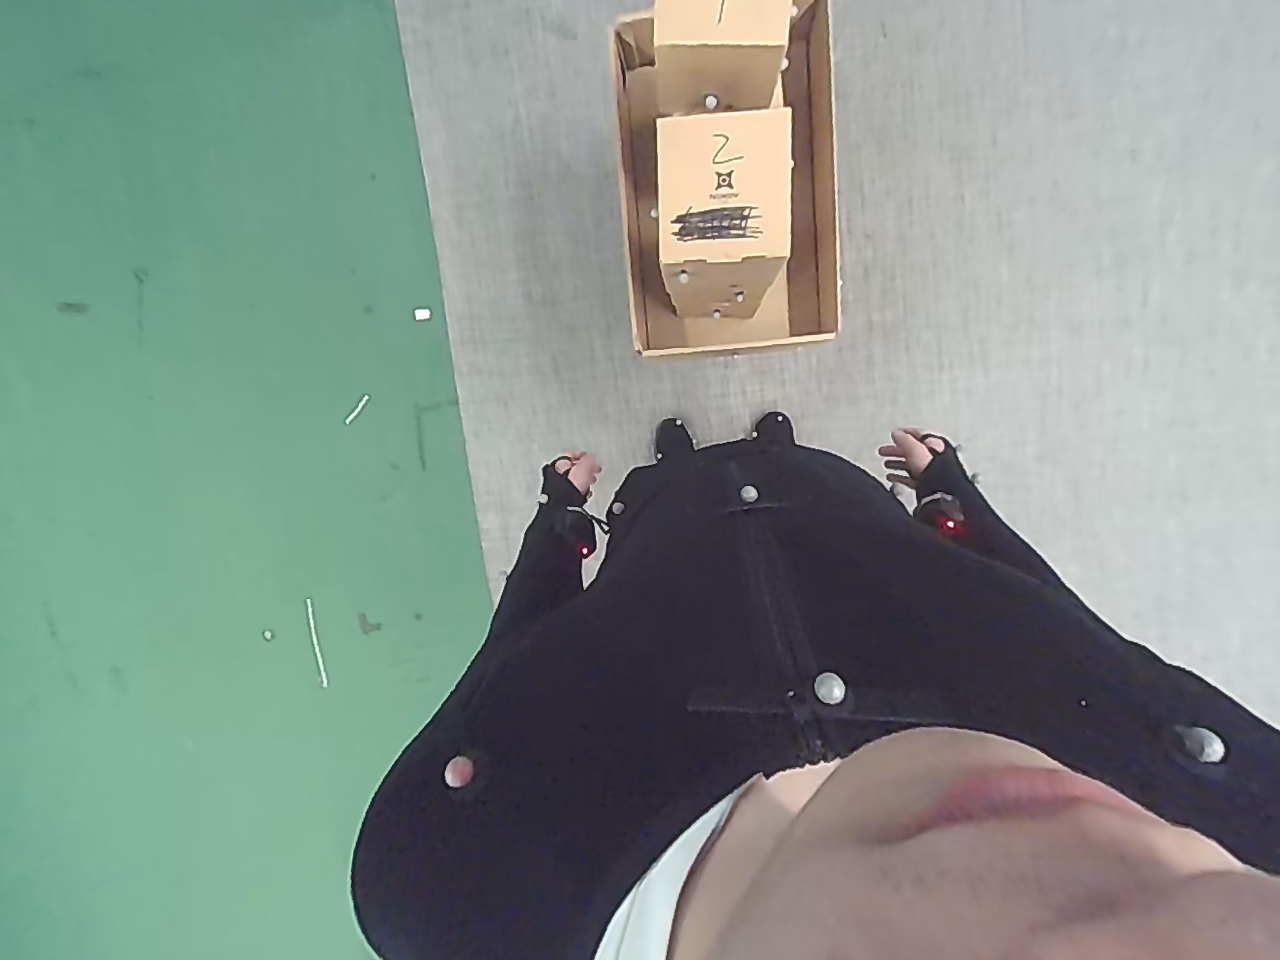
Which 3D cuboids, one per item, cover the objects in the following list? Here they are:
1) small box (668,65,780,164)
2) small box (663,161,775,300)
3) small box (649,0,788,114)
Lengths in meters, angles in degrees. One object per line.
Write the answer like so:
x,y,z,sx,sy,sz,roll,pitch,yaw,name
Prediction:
0.127,-0.646,0.879,0.168,0.176,0.179,-5,99,6,small box
0.128,-0.404,0.906,0.168,0.176,0.179,1,96,6,small box
0.105,-0.626,0.718,0.168,0.176,0.179,5,100,5,small box
